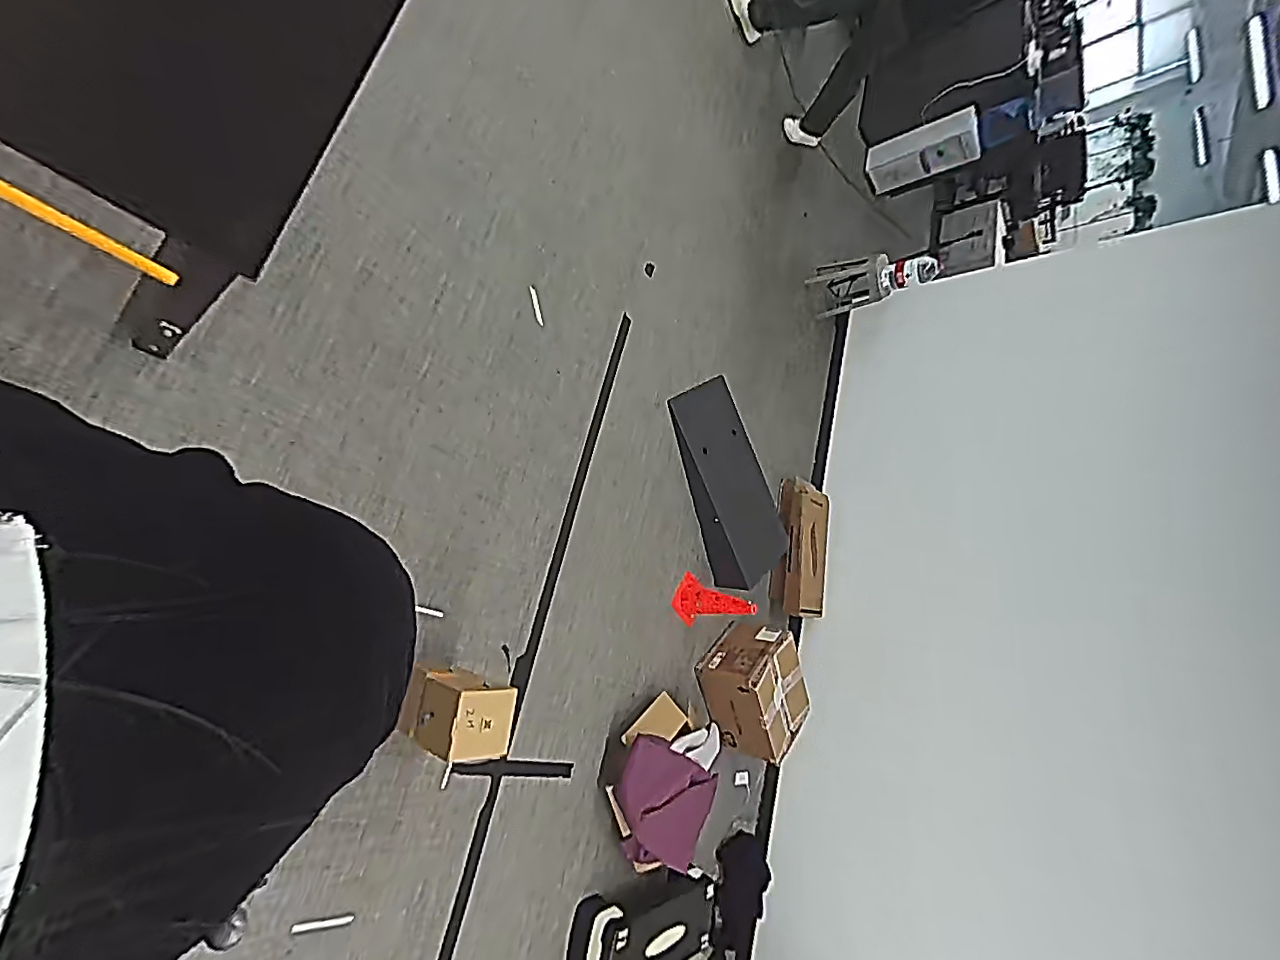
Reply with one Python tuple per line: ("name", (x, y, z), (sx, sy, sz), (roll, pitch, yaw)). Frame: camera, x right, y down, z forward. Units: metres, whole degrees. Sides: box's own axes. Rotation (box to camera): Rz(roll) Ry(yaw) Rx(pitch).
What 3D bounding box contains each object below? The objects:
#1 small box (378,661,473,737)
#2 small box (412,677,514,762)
("small box", (-0.594, 0.612, 1.515), (0.179, 0.176, 0.168), (27, 68, -44))
("small box", (-0.463, 0.616, 1.414), (0.179, 0.176, 0.168), (21, 72, -47))
